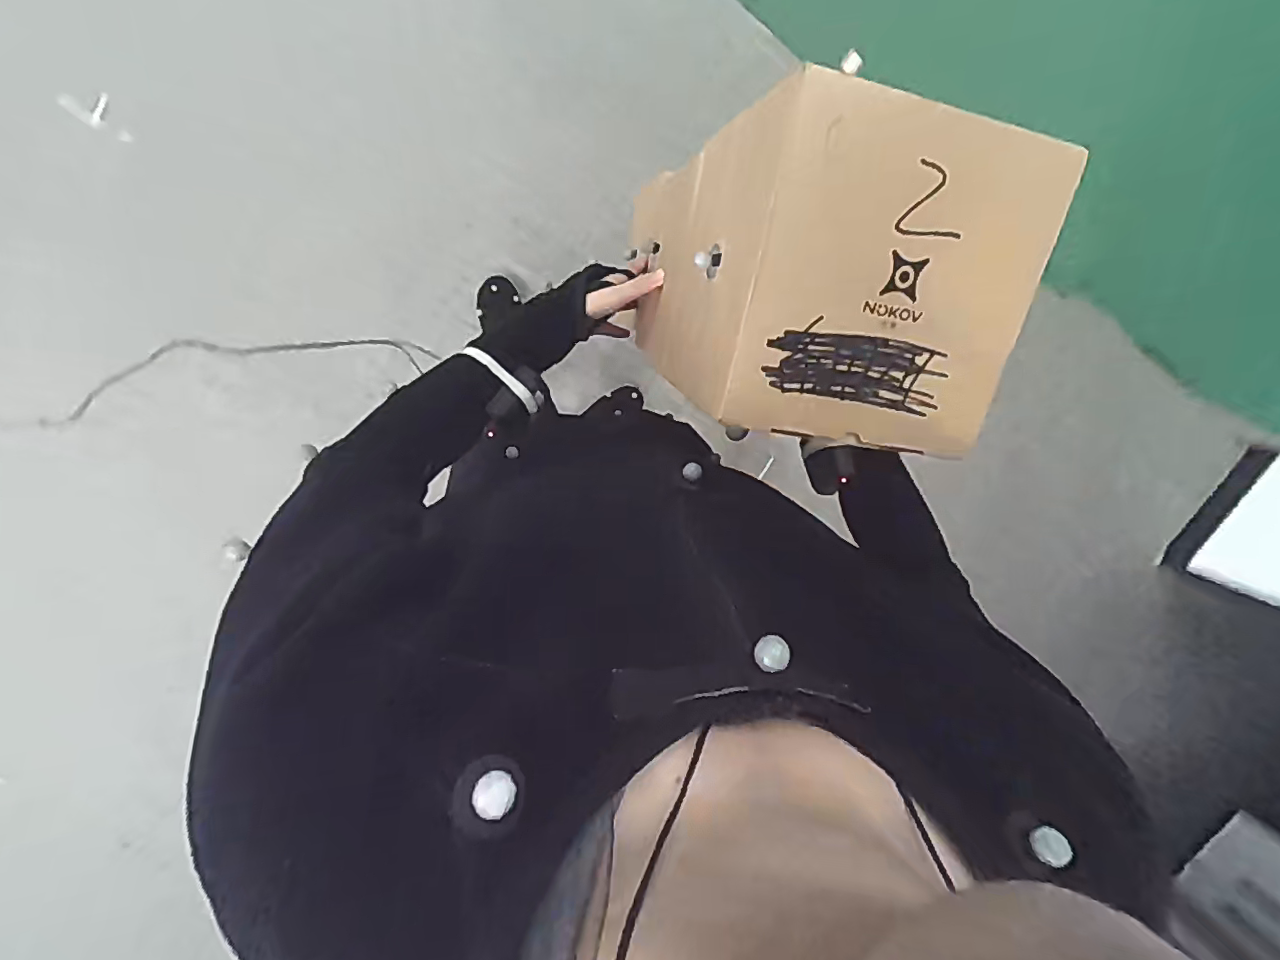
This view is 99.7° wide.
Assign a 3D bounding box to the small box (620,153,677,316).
[{"bbox_3d":[0.078,-0.280,0.665,0.179,0.176,0.168,4,110,-10],"label":"small box"}]

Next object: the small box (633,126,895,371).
[{"bbox_3d":[0.099,-0.210,0.519,0.179,0.176,0.168,5,109,-10],"label":"small box"}]
